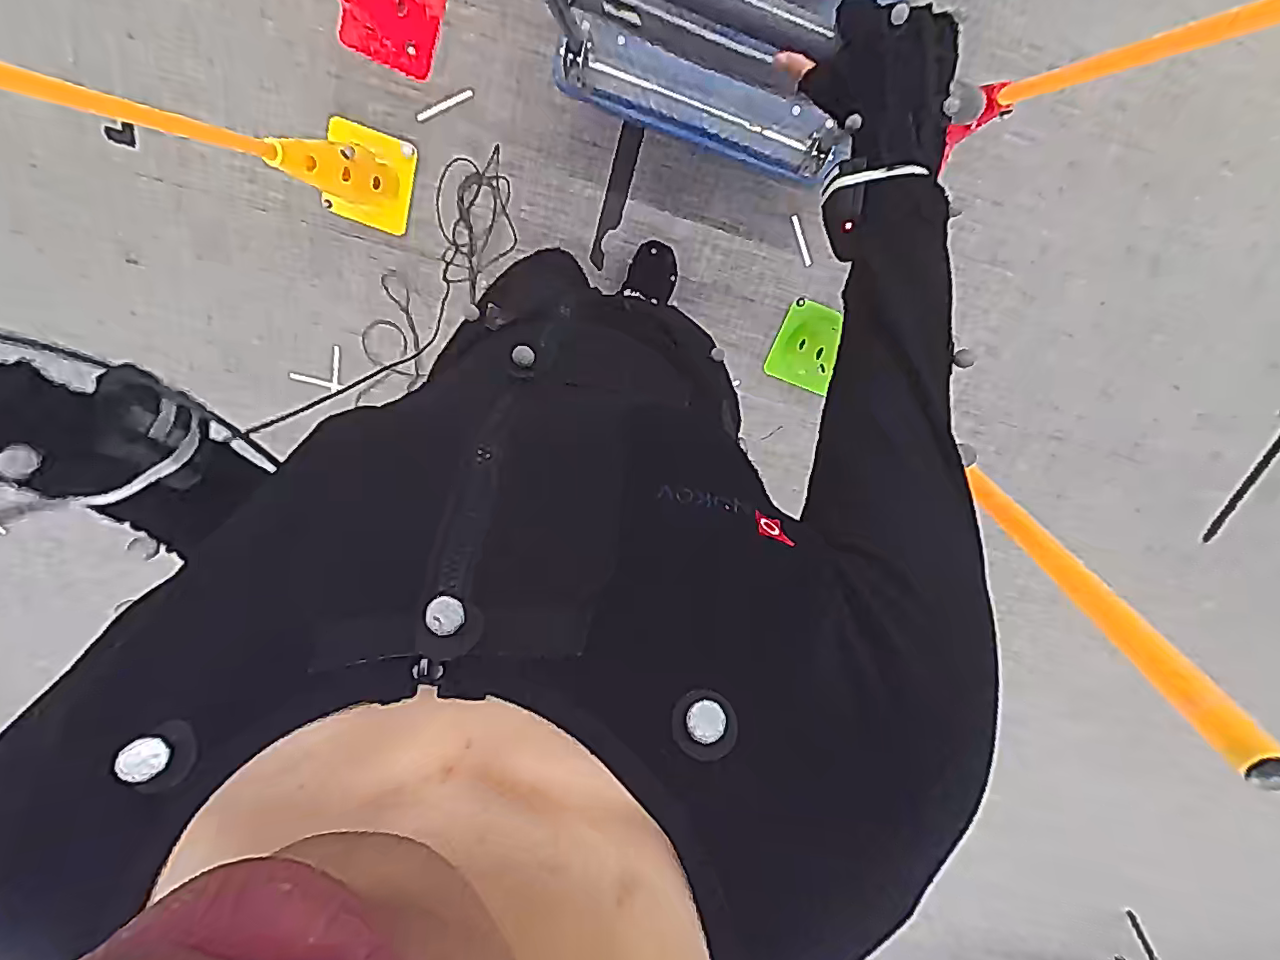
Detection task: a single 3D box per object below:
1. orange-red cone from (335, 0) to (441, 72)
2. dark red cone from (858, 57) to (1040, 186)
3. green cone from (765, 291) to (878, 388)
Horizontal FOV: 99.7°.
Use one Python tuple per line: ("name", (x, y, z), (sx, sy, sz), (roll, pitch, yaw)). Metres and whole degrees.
("orange-red cone", (-0.521, -0.928, 0.963), (0.198, 0.360, 0.199), (22, 110, -8))
("dark red cone", (0.588, -0.696, 1.003), (0.201, 0.394, 0.202), (15, 113, -6))
("green cone", (0.435, -0.281, 1.203), (0.202, 0.368, 0.200), (19, 112, -7))
